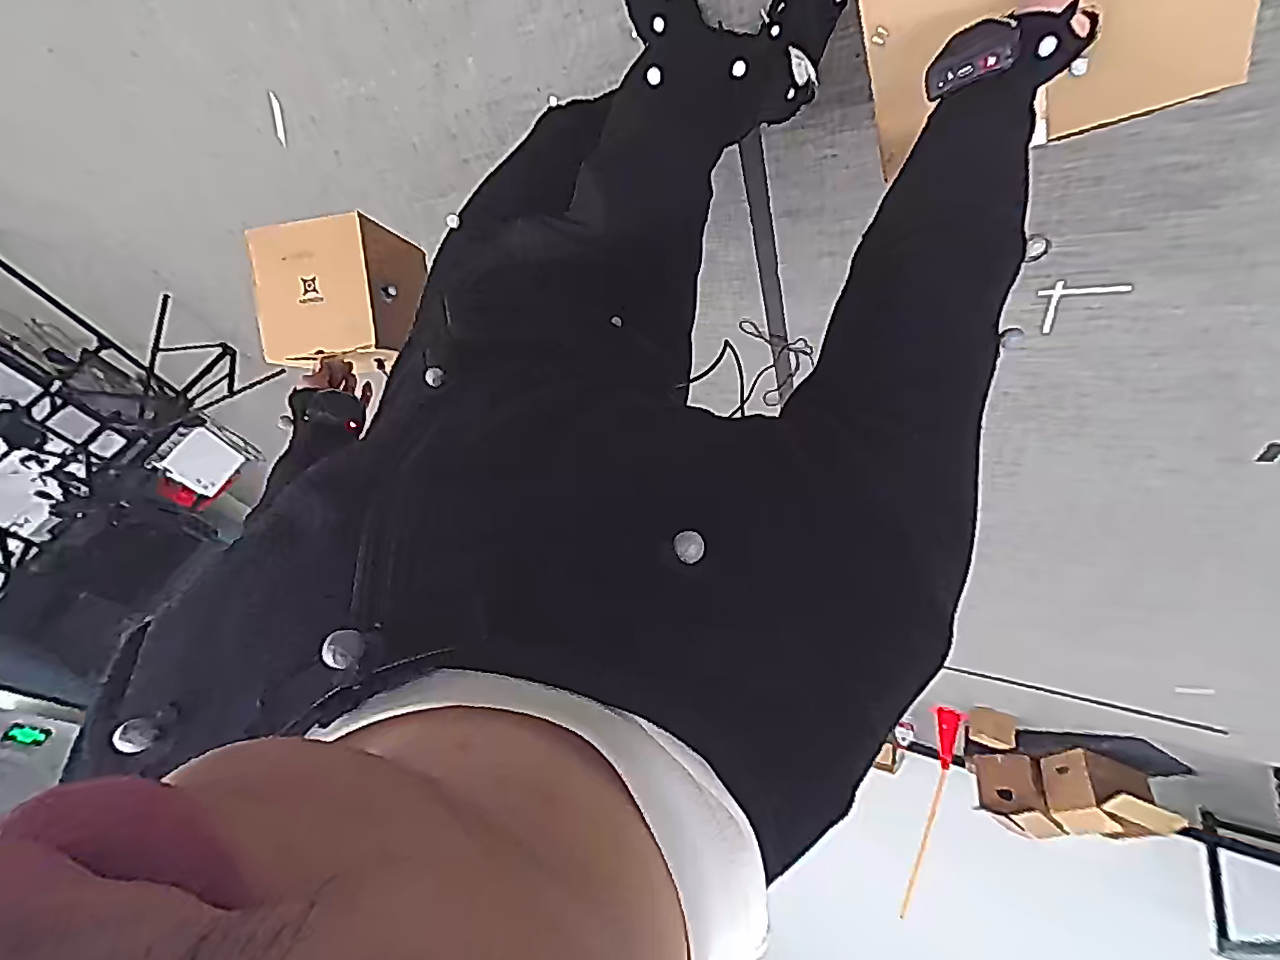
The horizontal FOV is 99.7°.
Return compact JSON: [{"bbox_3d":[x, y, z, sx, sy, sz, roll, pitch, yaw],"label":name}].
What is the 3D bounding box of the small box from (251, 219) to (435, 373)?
[{"bbox_3d":[-0.422,-0.255,0.797,0.168,0.179,0.176,-5,-175,7],"label":"small box"}]
